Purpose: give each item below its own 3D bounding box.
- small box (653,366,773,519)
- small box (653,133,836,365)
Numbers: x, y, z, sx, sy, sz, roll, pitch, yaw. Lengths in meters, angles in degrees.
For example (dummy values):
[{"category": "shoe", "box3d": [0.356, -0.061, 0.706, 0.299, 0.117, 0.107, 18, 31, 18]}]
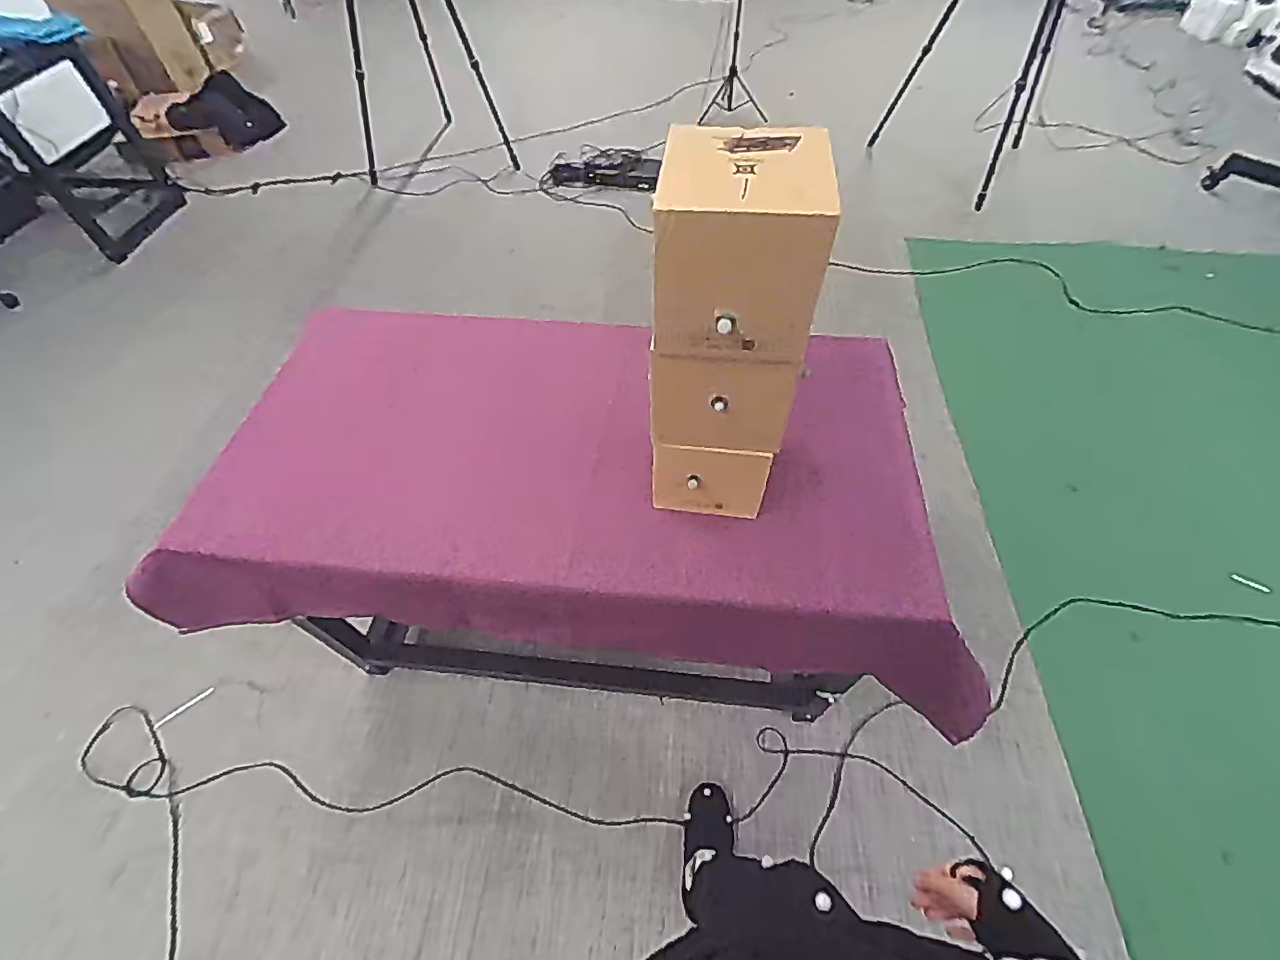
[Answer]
[{"category": "small box", "box3d": [0.115, -0.056, 0.857, 0.168, 0.176, 0.179, 6, 53, 6]}, {"category": "small box", "box3d": [0.104, -0.251, 0.591, 0.168, 0.176, 0.179, 4, 54, 6]}]
